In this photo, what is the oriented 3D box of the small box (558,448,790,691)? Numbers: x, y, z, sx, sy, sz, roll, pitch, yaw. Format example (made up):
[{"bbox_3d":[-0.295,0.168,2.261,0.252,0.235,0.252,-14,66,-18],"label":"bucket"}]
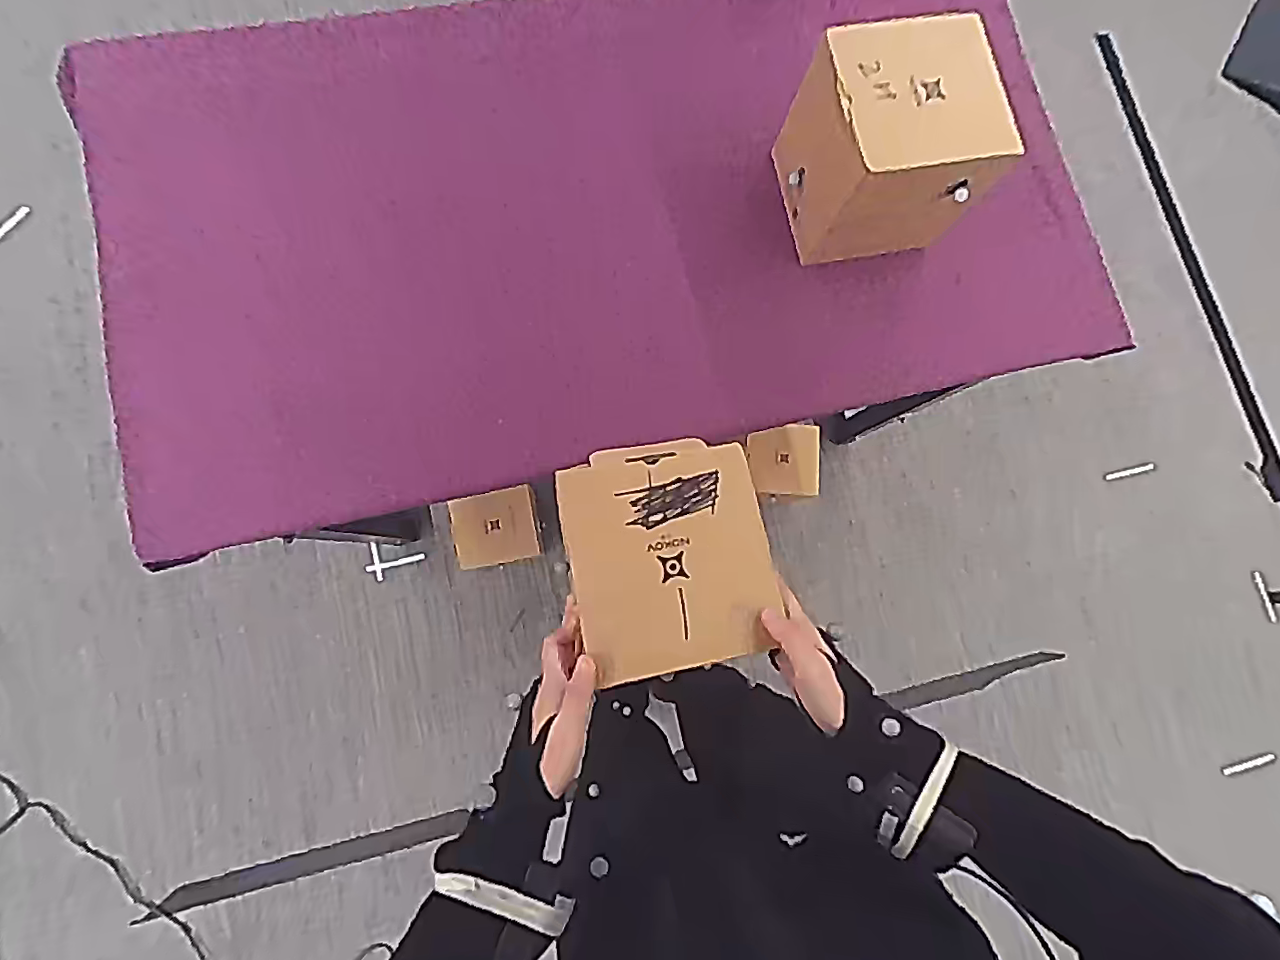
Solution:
[{"bbox_3d":[0.016,0.087,0.514,0.168,0.176,0.179,-10,76,-9],"label":"small box"}]

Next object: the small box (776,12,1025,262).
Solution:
[{"bbox_3d":[0.278,-0.375,0.617,0.179,0.176,0.168,-11,82,-6],"label":"small box"}]

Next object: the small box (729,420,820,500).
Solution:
[{"bbox_3d":[0.318,-0.042,1.314,0.179,0.176,0.168,4,82,-4],"label":"small box"}]
